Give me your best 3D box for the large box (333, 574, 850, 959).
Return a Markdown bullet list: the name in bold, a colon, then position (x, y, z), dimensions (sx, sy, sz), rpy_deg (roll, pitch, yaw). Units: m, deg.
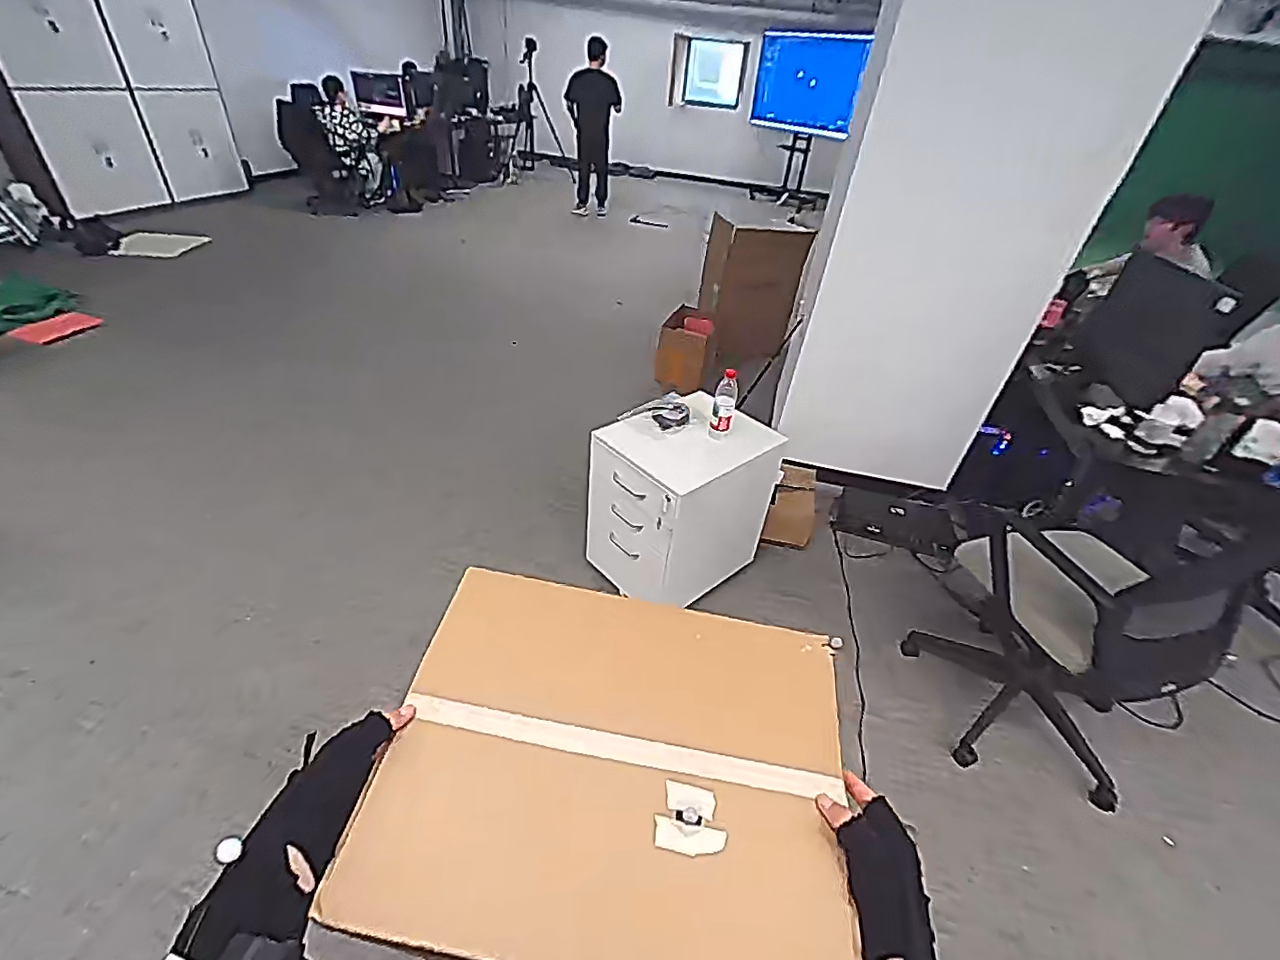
- **large box**: position (-0.034, 0.349, 0.608), dimensions (0.408, 0.320, 0.320), rpy_deg (11, 46, 2)
